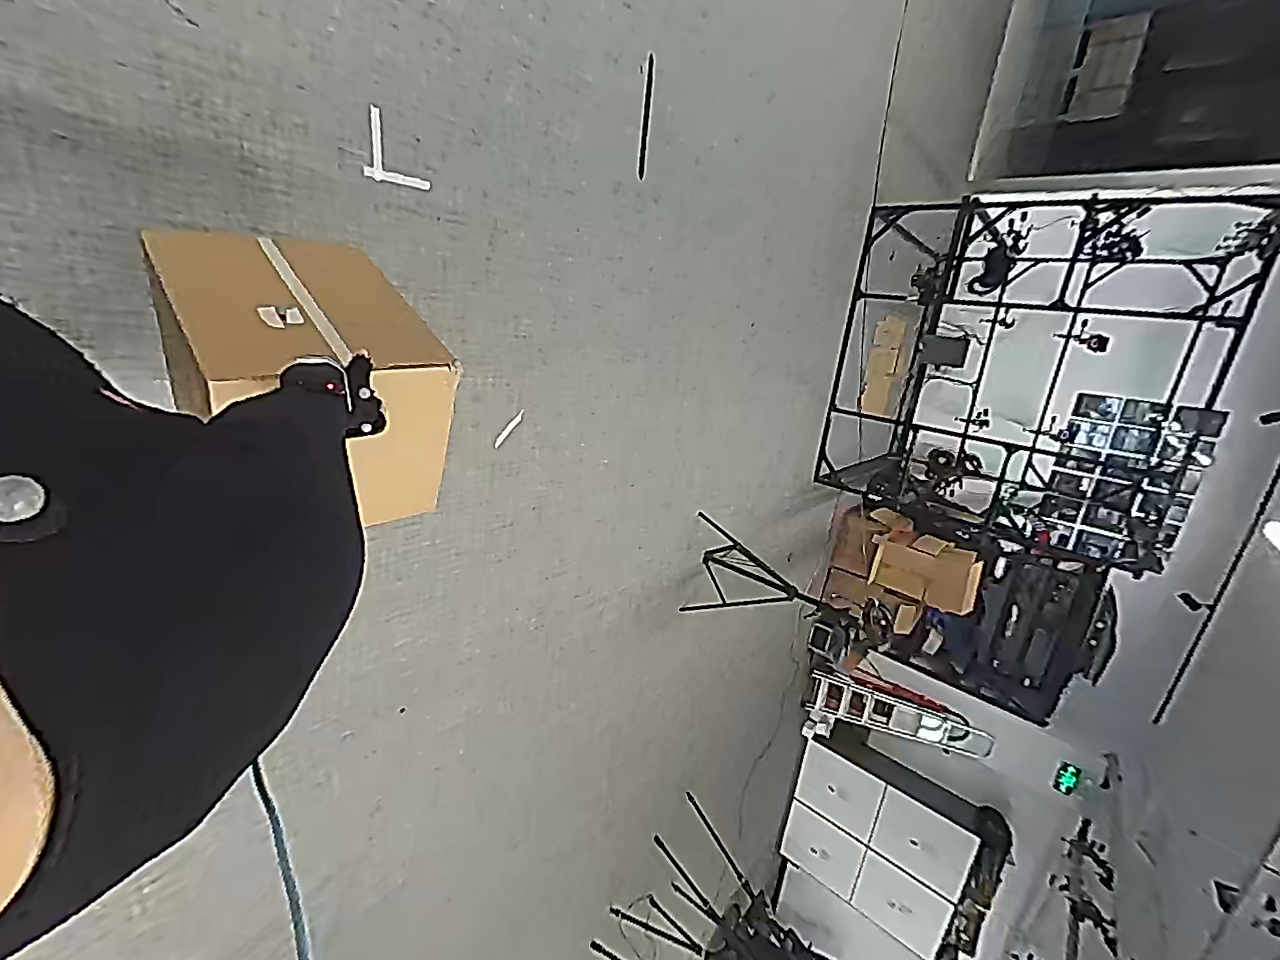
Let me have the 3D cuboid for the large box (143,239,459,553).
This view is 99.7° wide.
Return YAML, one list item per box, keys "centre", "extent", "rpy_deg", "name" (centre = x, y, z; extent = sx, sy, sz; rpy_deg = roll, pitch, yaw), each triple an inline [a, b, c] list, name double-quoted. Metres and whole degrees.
- centre: [-0.564, -0.153, 0.910]
  extent: [0.320, 0.408, 0.320]
  rpy_deg: [-17, 144, -43]
  name: "large box"
